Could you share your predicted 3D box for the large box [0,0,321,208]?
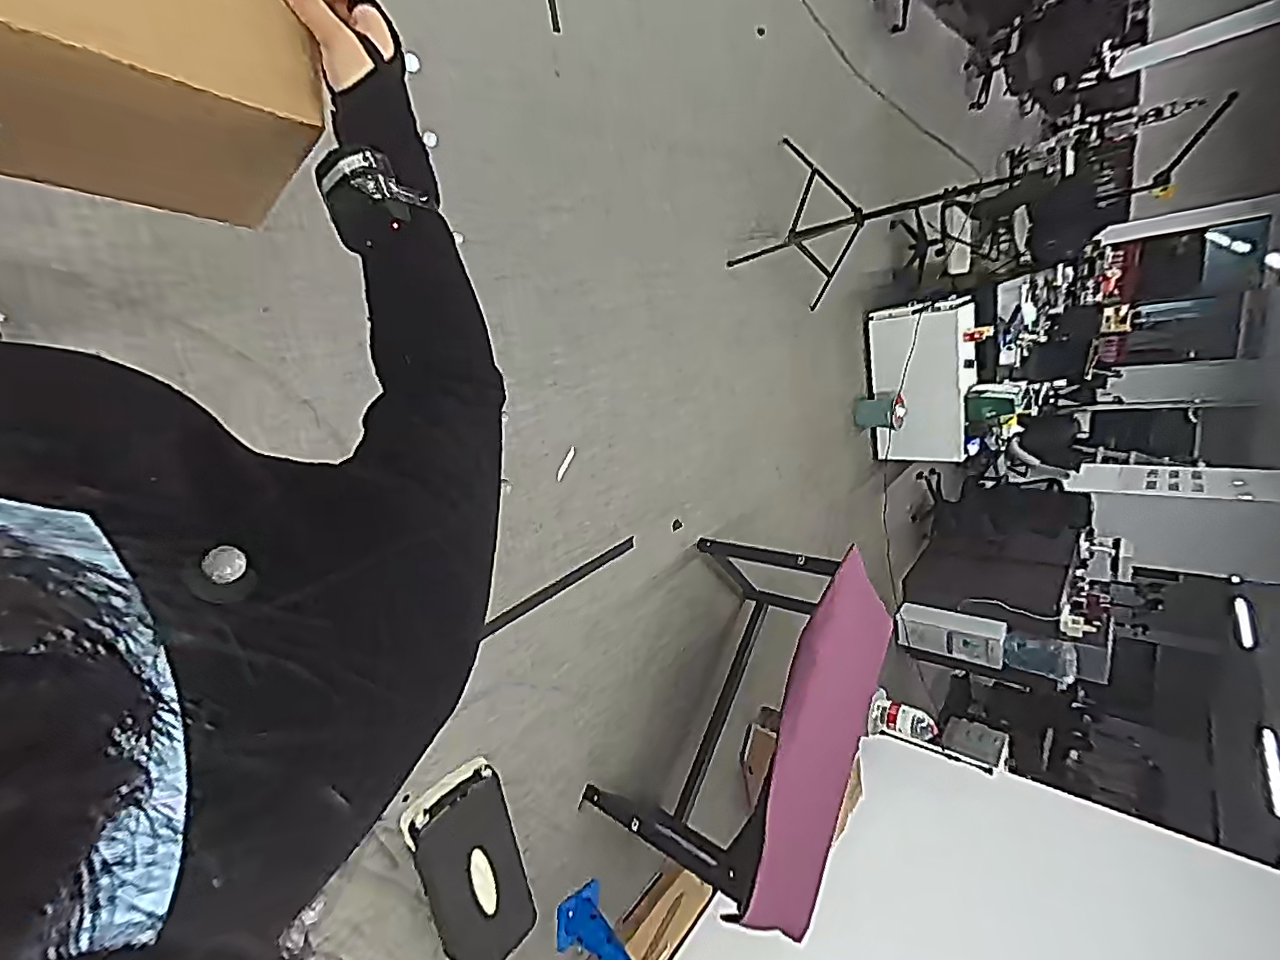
[{"bbox_3d":[-0.502,-0.443,0.395,0.408,0.320,0.320,-5,97,-43],"label":"large box"}]
